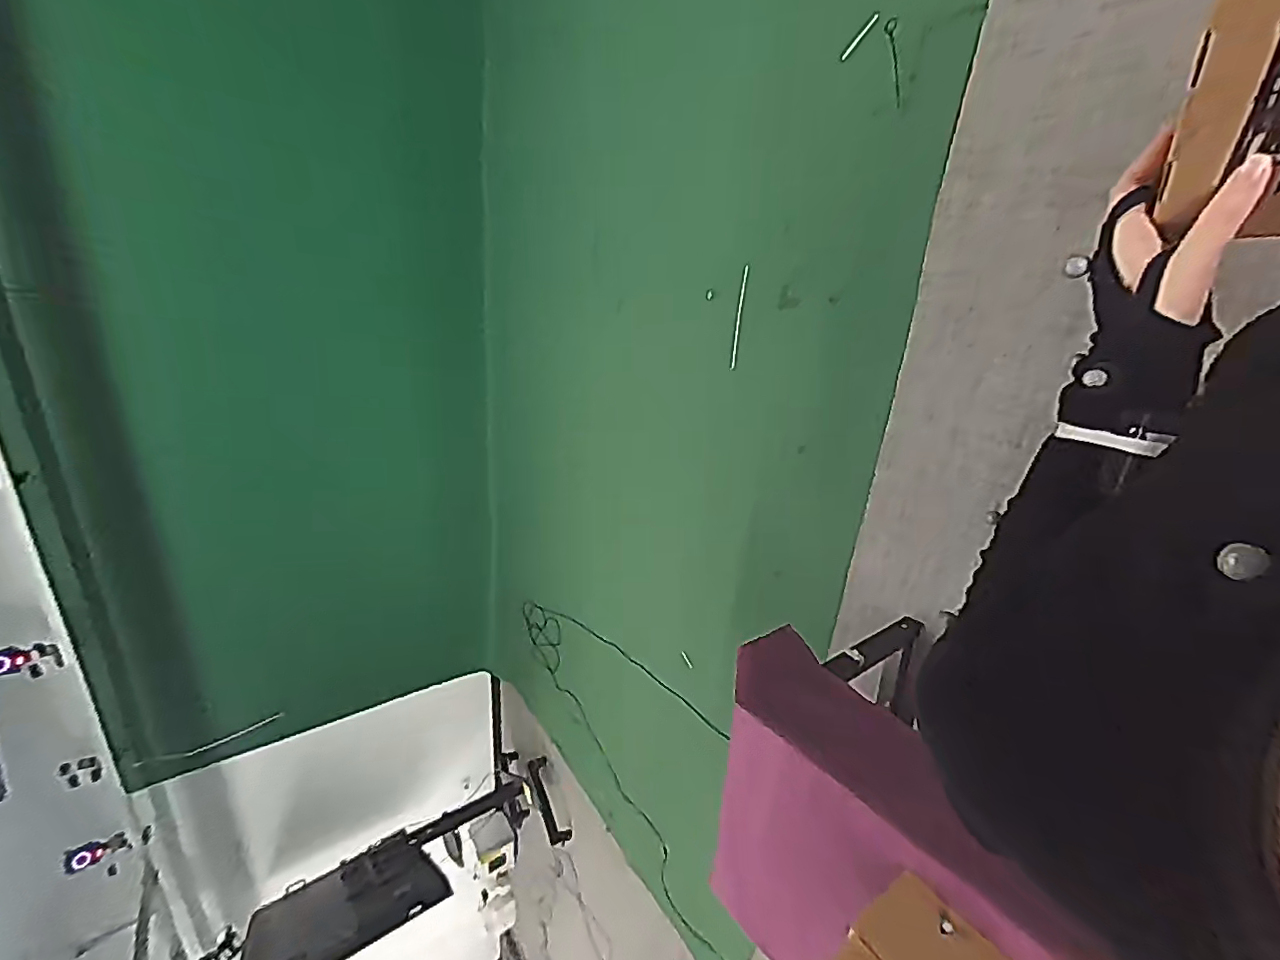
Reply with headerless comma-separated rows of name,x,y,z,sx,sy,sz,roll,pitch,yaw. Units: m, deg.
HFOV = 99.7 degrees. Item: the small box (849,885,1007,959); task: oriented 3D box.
small box,0.446,0.788,0.849,0.179,0.176,0.168,28,121,48
